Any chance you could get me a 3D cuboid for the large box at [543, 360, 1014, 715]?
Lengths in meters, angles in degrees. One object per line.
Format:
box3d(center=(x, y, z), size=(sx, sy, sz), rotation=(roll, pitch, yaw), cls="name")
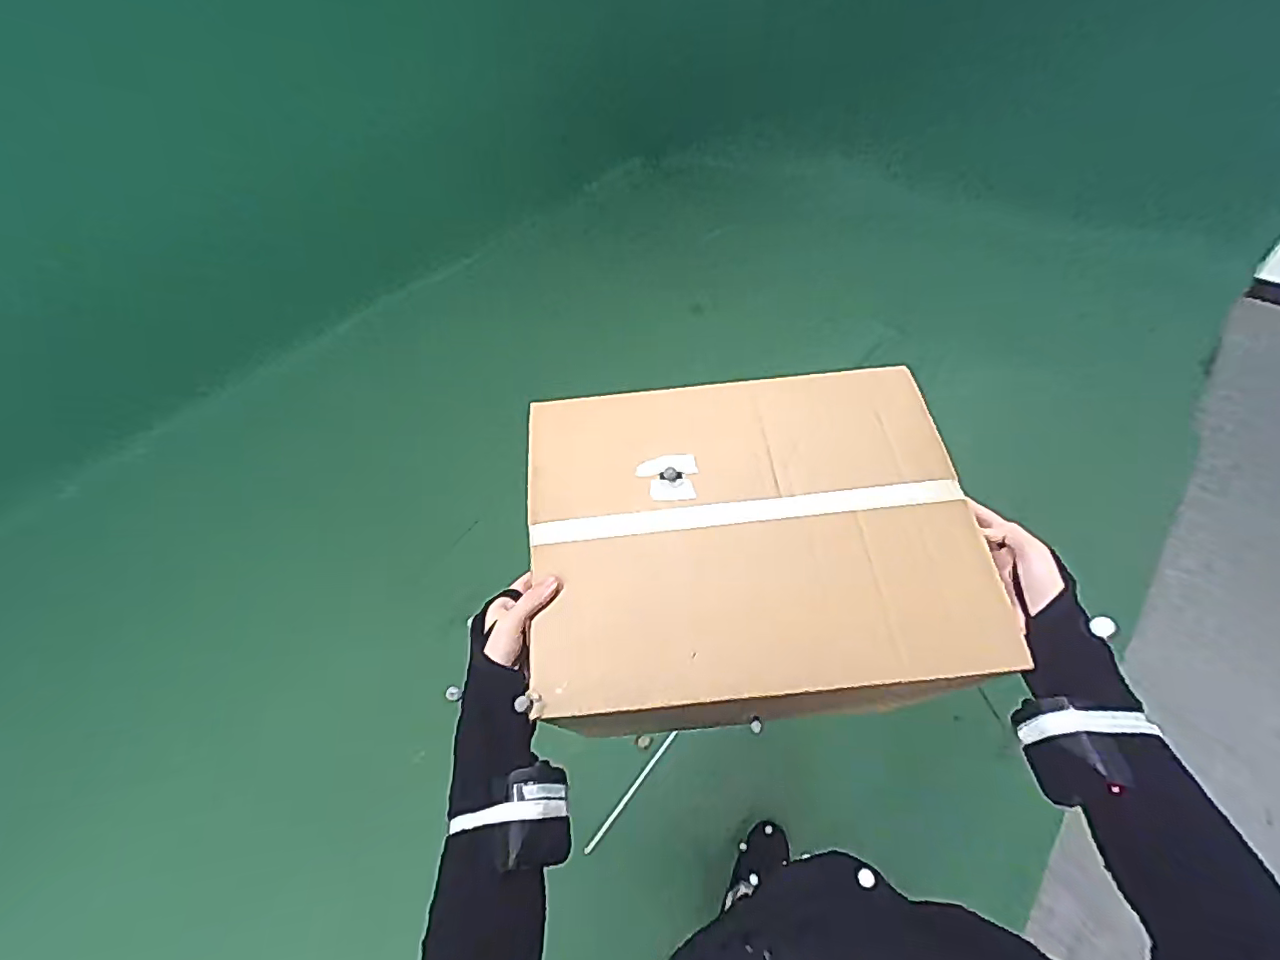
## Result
box3d(center=(0.116, 0.093, 0.653), size=(0.408, 0.320, 0.320), rotation=(-6, 62, 2), cls="large box")
